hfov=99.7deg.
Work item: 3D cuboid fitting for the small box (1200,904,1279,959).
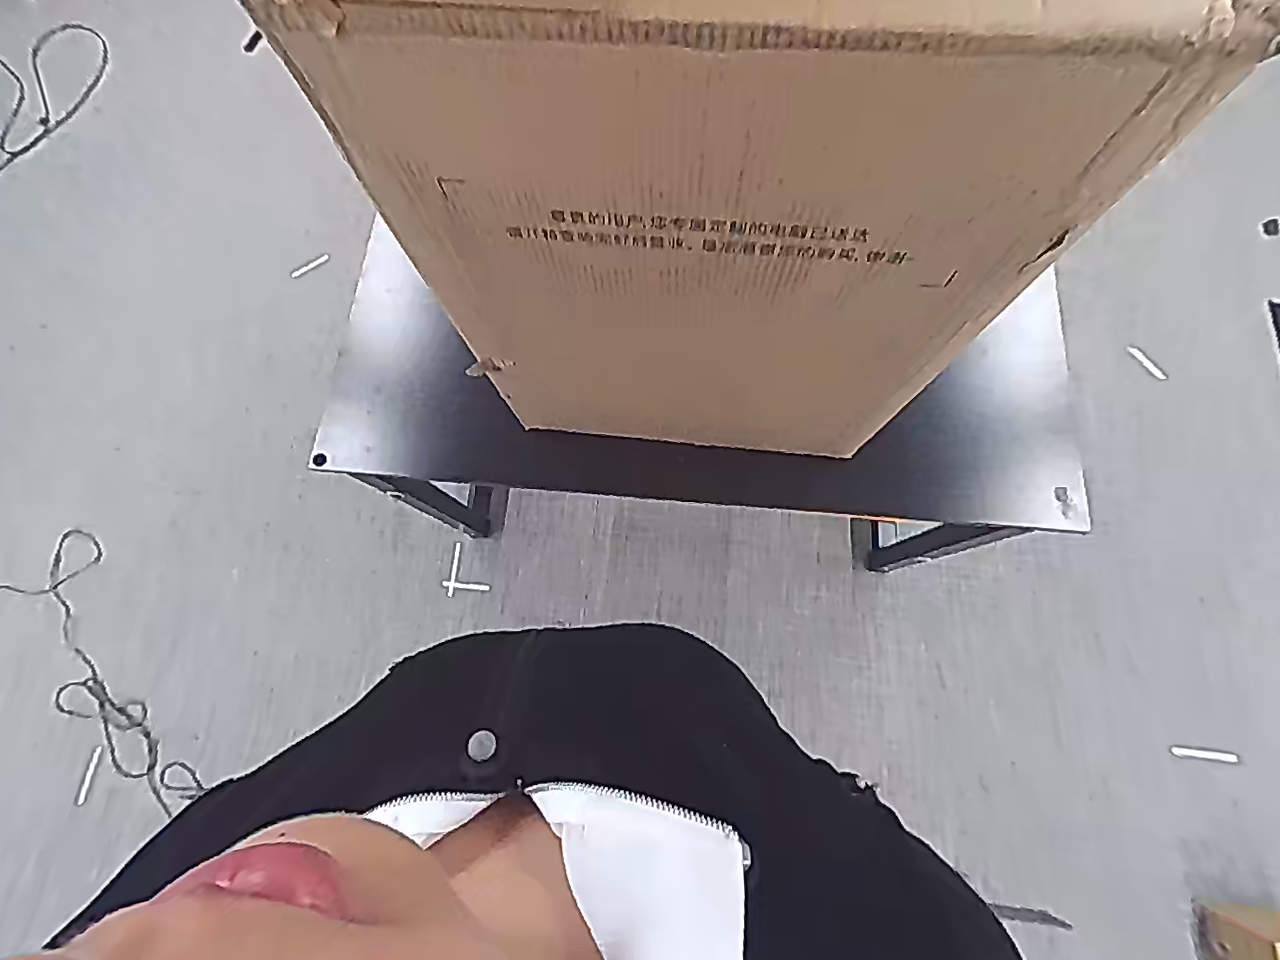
[{"bbox_3d":[1.391,1.051,1.166,0.179,0.176,0.168,0,74,4],"label":"small box"}]
